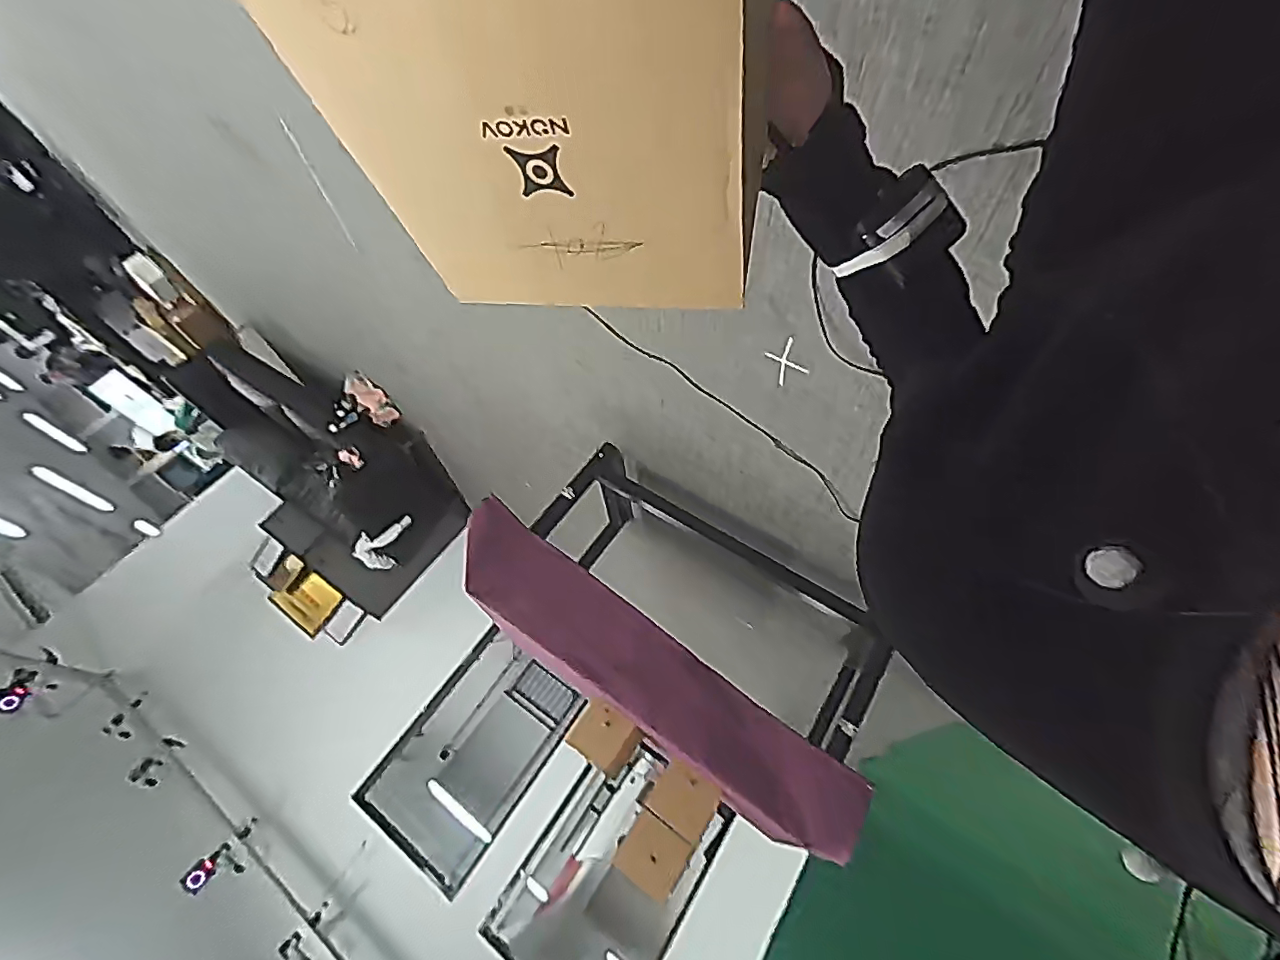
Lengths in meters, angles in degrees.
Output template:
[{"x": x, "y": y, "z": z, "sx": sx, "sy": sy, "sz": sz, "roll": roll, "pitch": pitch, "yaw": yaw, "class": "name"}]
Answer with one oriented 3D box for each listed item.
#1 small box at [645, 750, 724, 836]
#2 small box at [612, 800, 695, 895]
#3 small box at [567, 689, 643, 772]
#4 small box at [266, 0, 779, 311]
[{"x": 0.138, "y": 0.951, "z": 1.656, "sx": 0.179, "sy": 0.176, "sz": 0.168, "roll": 29, "pitch": 155, "yaw": 22, "class": "small box"}, {"x": 0.043, "y": 1.069, "z": 1.591, "sx": 0.179, "sy": 0.176, "sz": 0.168, "roll": 28, "pitch": 154, "yaw": 22, "class": "small box"}, {"x": -0.106, "y": 0.818, "z": 1.768, "sx": 0.168, "sy": 0.176, "sz": 0.179, "roll": 25, "pitch": 153, "yaw": 27, "class": "small box"}, {"x": -0.023, "y": -0.205, "z": 0.256, "sx": 0.168, "sy": 0.176, "sz": 0.179, "roll": 6, "pitch": 161, "yaw": 13, "class": "small box"}]
